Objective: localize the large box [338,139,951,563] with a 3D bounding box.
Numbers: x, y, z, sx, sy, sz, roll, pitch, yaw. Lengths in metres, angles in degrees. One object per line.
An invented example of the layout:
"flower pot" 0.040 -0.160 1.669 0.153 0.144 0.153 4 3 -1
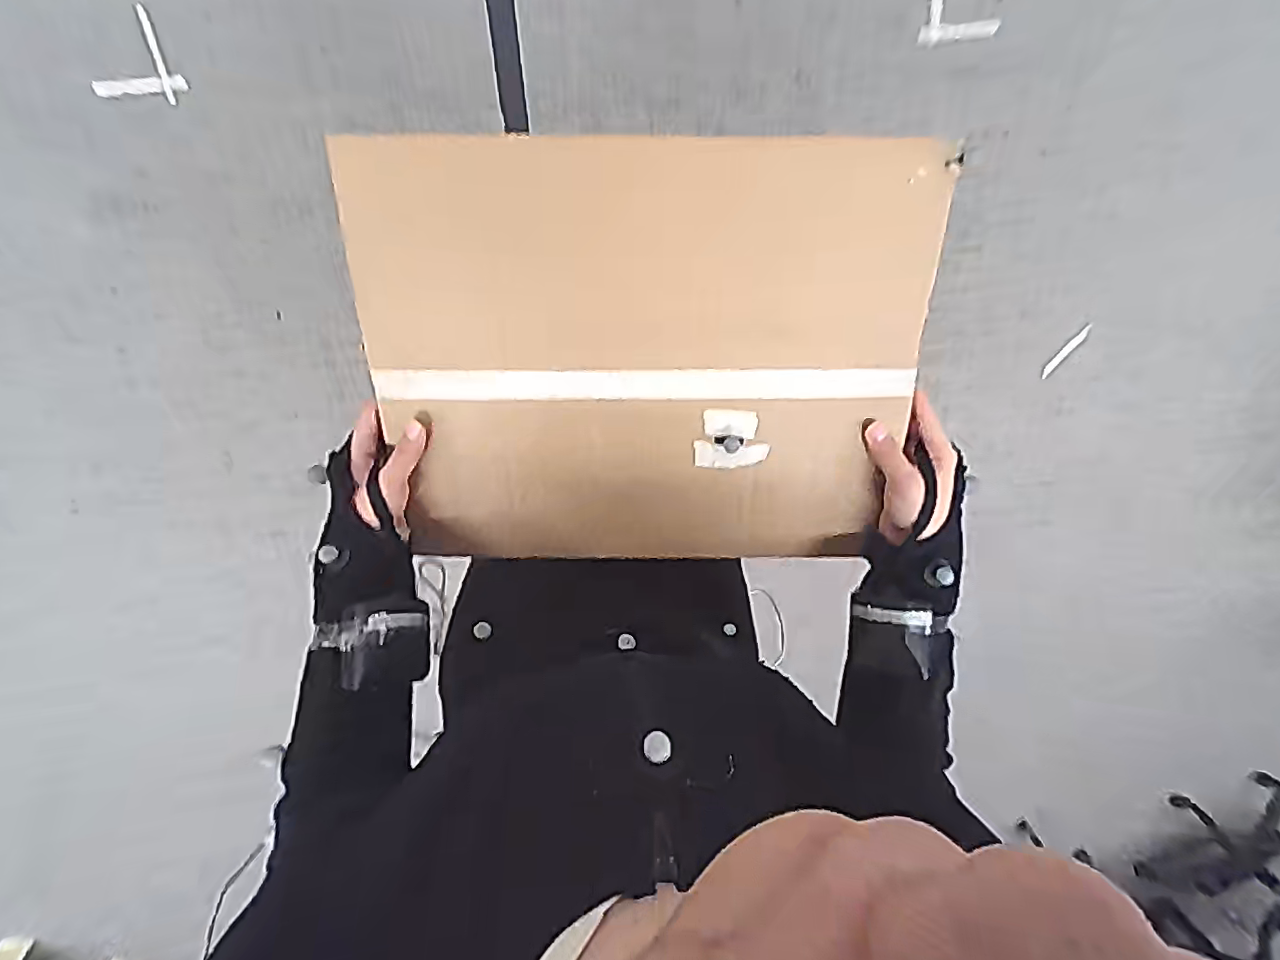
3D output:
"large box" 0.002 -0.134 0.541 0.408 0.320 0.320 -1 115 -1
